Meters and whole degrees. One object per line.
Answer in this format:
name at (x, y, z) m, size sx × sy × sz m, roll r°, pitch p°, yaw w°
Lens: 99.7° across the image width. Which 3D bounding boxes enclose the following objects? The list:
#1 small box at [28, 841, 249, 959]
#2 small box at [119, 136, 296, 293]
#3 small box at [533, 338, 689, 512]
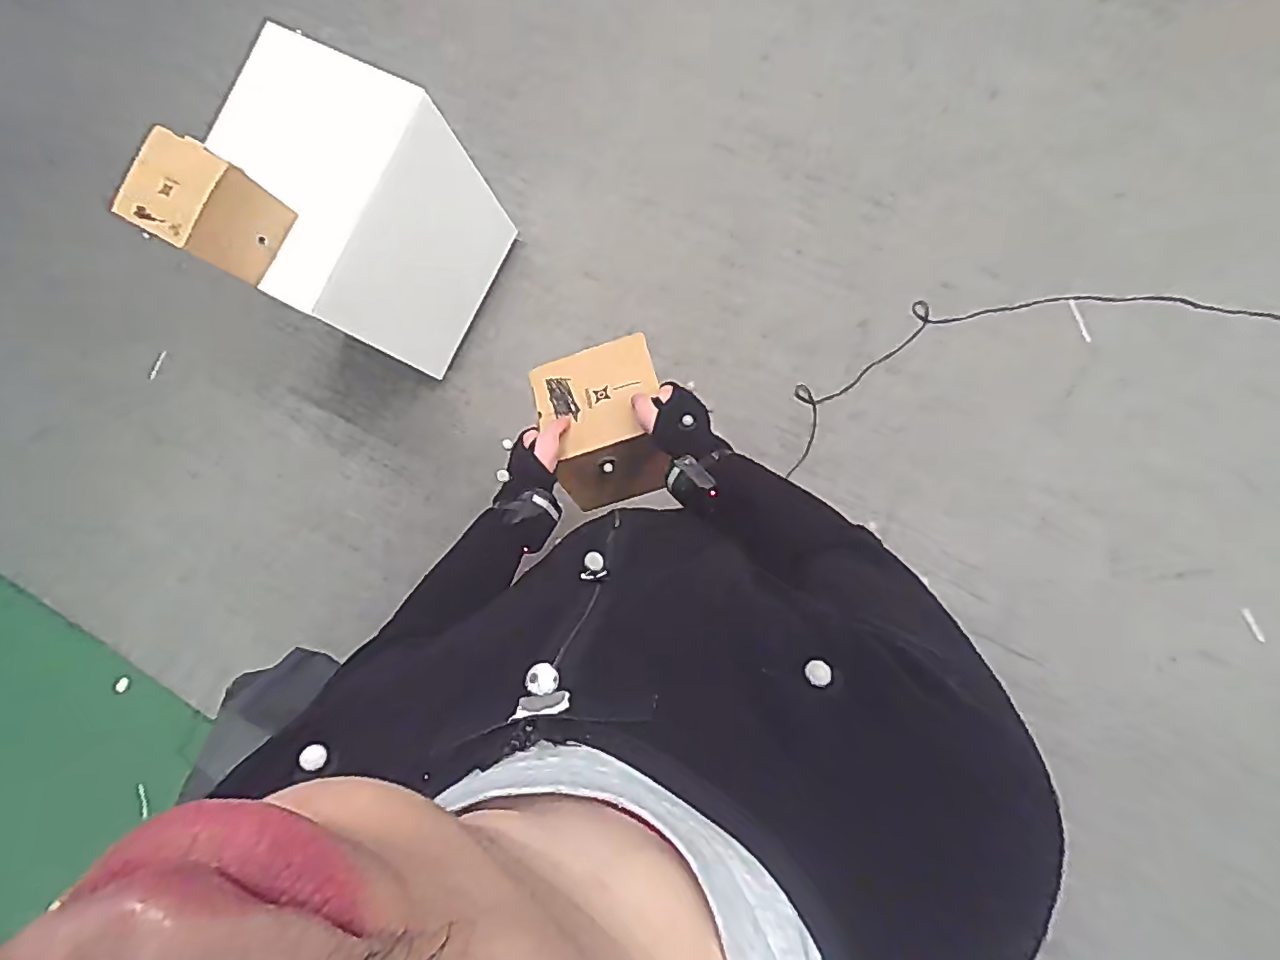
small box at (-0.755, 0.693, 0.815) m, size 0.179 × 0.176 × 0.168 m, roll 28°, pitch 91°, yaw 7°
small box at (-0.804, -0.494, 1.028) m, size 0.168 × 0.176 × 0.179 m, roll 29°, pitch 89°, yaw 8°
small box at (-0.039, -0.072, 0.798) m, size 0.179 × 0.176 × 0.168 m, roll -17°, pitch 62°, yaw 5°
